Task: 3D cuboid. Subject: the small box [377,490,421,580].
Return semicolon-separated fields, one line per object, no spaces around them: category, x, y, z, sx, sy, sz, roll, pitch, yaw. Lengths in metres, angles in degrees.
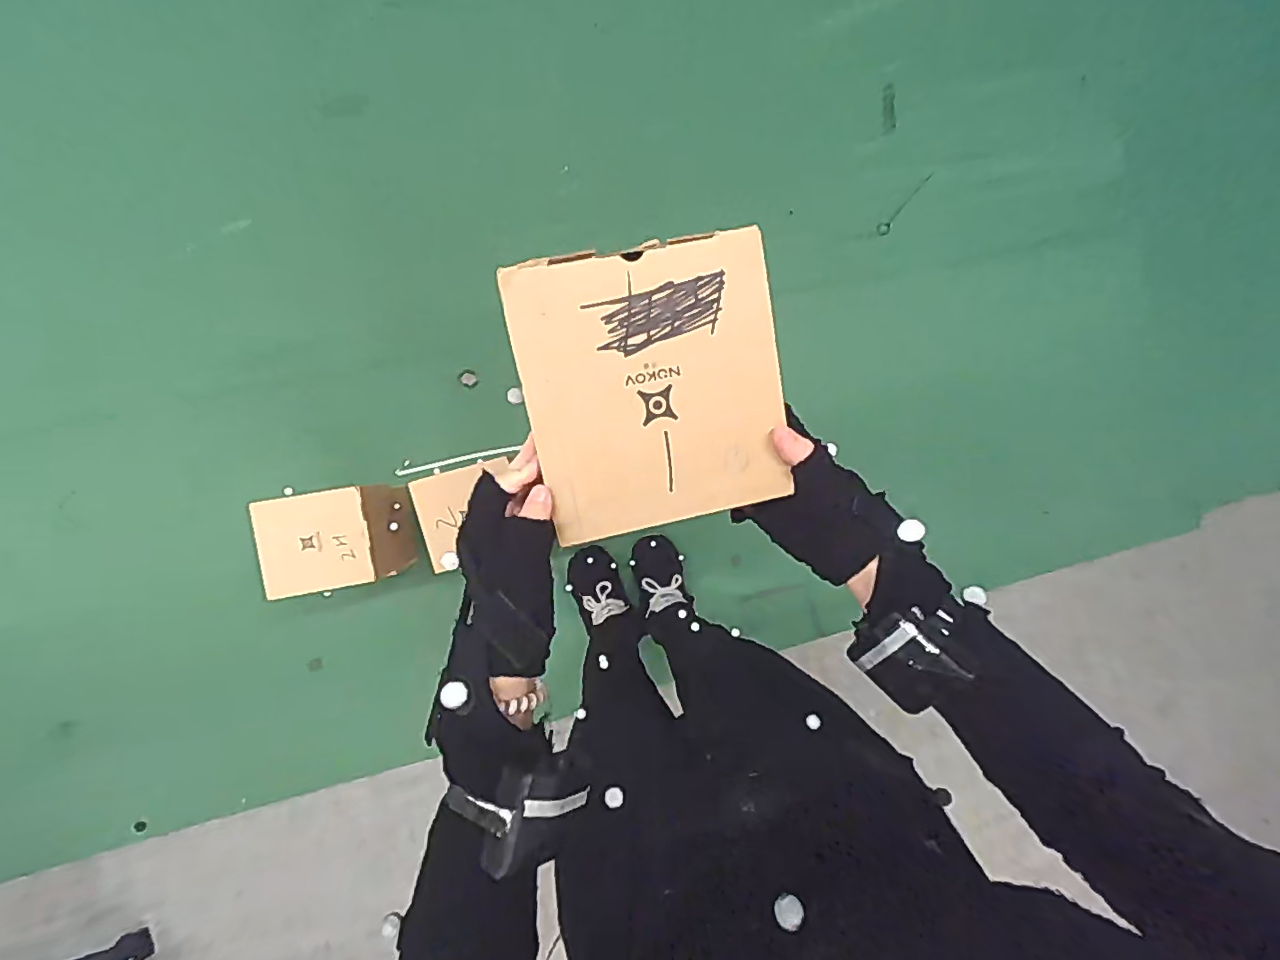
small box;-0.579;0.118;1.146;0.168;0.176;0.179;-8;91;-8

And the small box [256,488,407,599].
small box;-0.550;0.107;0.984;0.179;0.176;0.168;-9;92;-8

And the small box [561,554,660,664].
small box;-0.069;0.290;1.239;0.179;0.176;0.168;19;99;8
